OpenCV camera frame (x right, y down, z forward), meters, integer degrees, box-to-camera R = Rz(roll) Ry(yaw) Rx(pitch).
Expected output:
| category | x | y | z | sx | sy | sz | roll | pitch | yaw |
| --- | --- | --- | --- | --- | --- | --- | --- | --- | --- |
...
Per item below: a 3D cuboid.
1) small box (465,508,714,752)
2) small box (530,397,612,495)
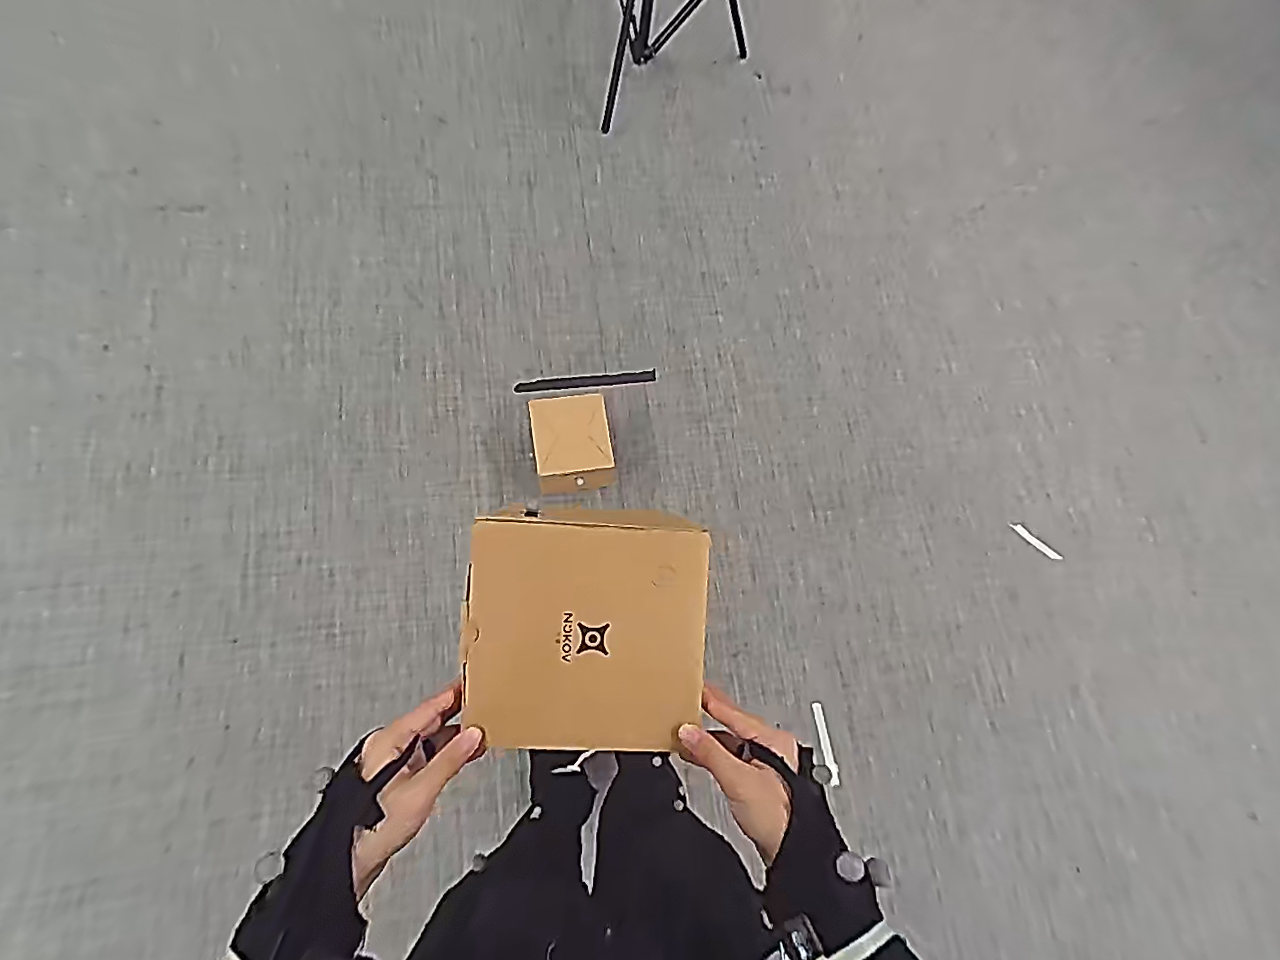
| category | x | y | z | sx | sy | sz | roll | pitch | yaw |
| --- | --- | --- | --- | --- | --- | --- | --- | --- | --- |
| small box | -0.042 | 0.115 | 0.477 | 0.179 | 0.176 | 0.168 | 3 | 91 | -3 |
| small box | -0.161 | -0.077 | 1.251 | 0.168 | 0.176 | 0.179 | -8 | 75 | -10 |
